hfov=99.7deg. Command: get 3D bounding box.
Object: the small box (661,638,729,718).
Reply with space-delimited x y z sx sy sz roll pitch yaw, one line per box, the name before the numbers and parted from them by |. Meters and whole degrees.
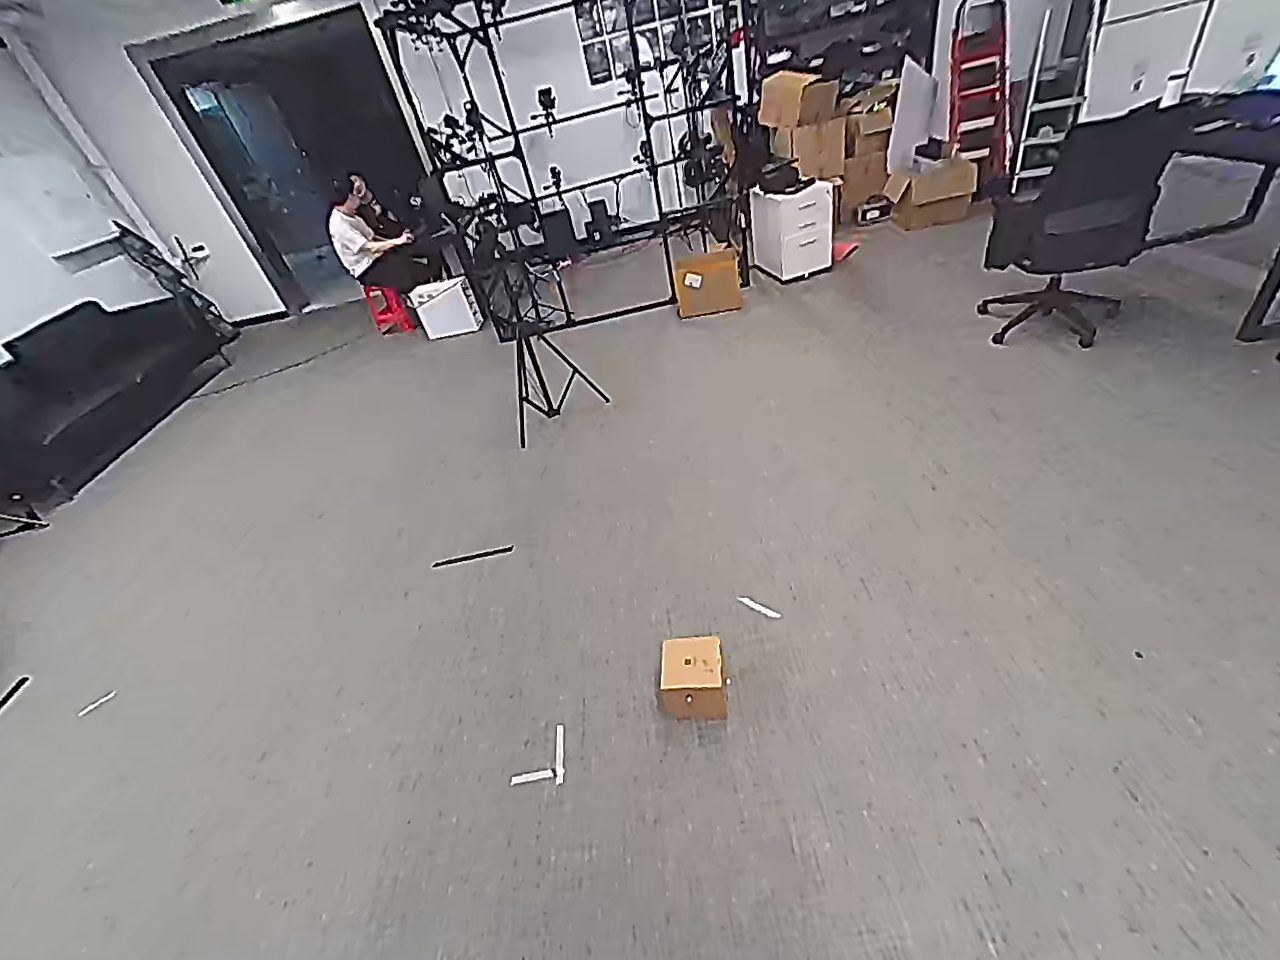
small box | 0.168 0.594 1.613 0.179 0.176 0.168 -6 38 11
